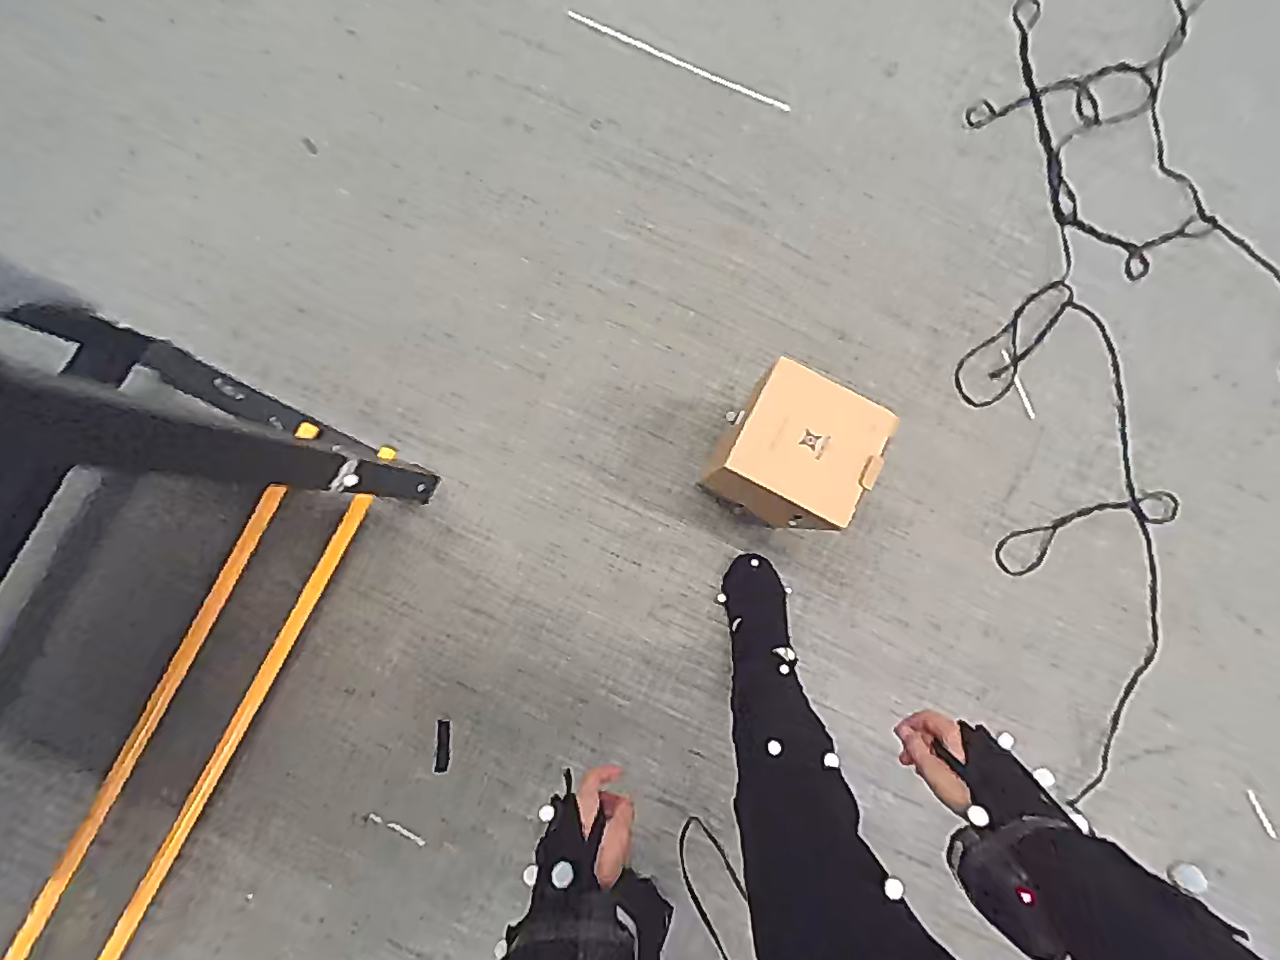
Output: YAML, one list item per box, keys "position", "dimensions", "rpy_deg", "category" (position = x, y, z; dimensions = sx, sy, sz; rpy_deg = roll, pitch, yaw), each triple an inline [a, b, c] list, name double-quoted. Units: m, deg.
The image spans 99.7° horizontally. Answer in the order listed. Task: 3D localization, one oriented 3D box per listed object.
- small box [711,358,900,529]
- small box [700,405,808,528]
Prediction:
- position: [0.220, -0.043, 0.766]
  dimensions: [0.179, 0.176, 0.168]
  rpy_deg: [27, 85, 2]
  category: "small box"
- position: [0.222, -0.032, 0.929]
  dimensions: [0.179, 0.176, 0.168]
  rpy_deg: [30, 86, 0]
  category: "small box"
